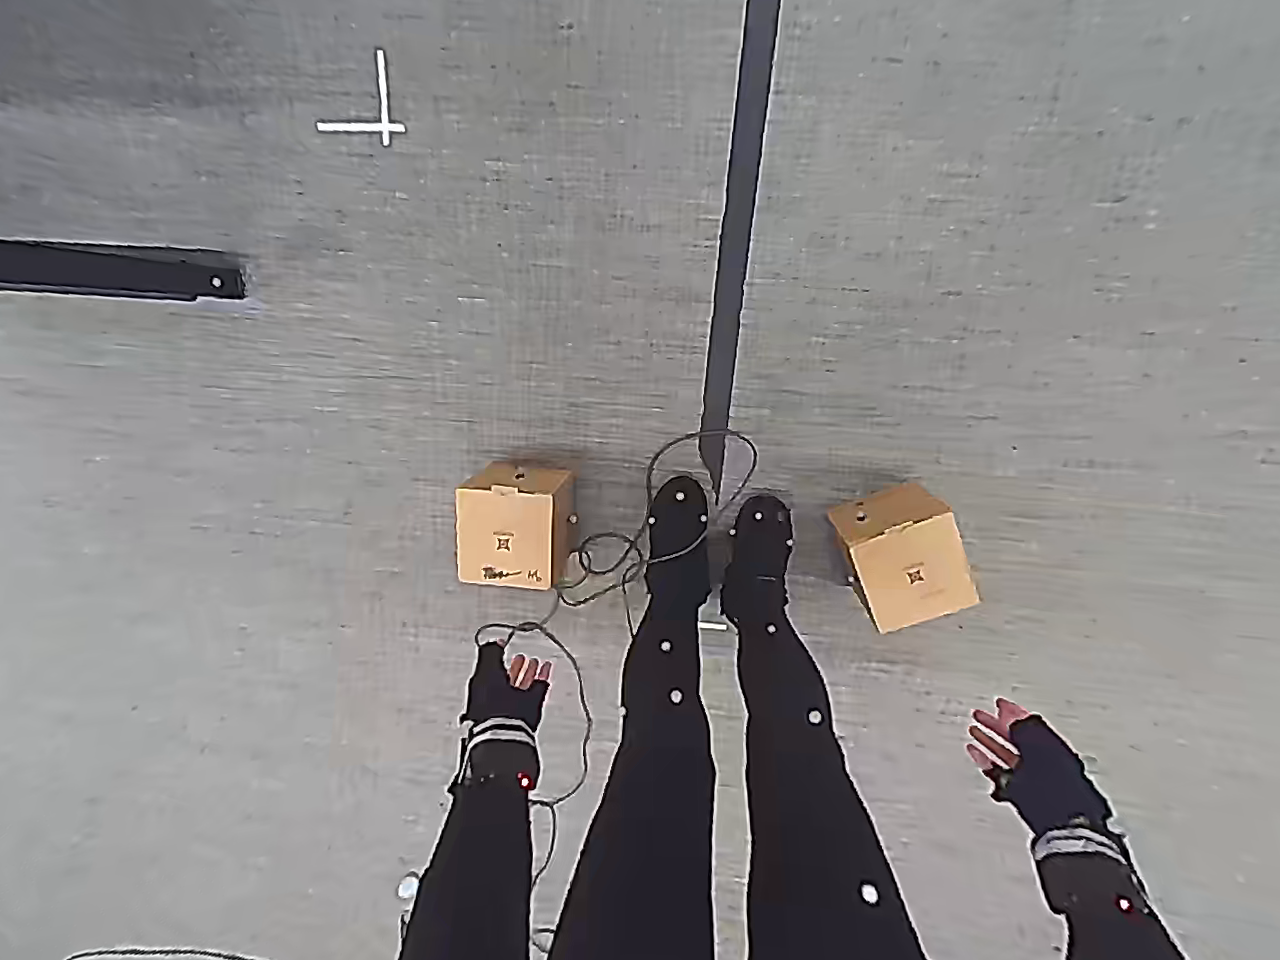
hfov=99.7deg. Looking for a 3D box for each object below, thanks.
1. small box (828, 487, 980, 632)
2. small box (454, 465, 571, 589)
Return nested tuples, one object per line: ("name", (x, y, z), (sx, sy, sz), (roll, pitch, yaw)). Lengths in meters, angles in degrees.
("small box", (0.444, 0.126, 0.937), (0.168, 0.176, 0.179), (-22, 104, 12))
("small box", (-0.223, 0.075, 0.979), (0.168, 0.176, 0.179), (5, 104, 4))
